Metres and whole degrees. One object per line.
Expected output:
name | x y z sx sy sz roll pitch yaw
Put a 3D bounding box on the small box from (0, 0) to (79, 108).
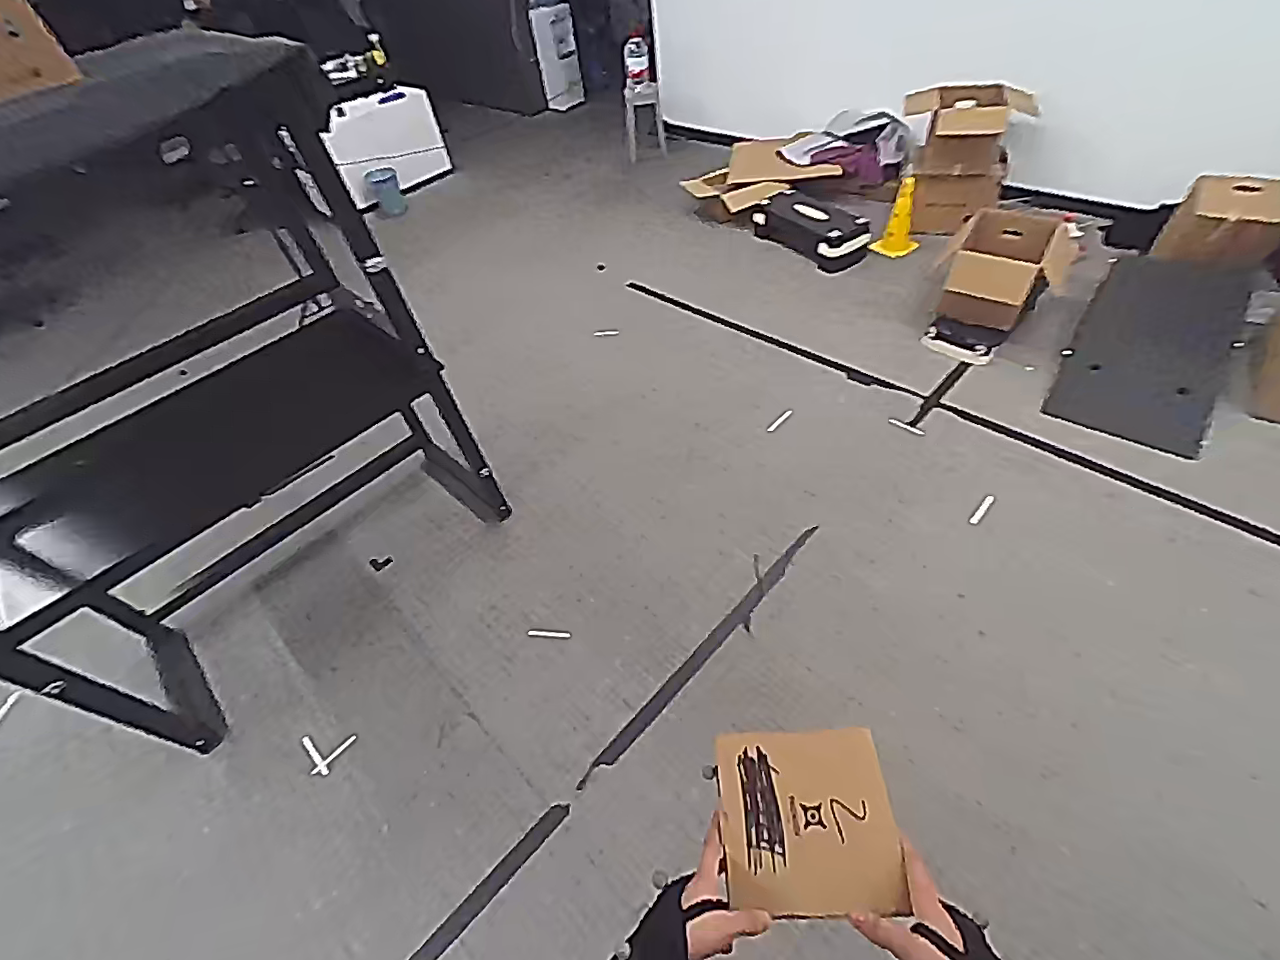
small box | -1.186 -0.793 0.980 0.179 0.176 0.168 32 61 30
